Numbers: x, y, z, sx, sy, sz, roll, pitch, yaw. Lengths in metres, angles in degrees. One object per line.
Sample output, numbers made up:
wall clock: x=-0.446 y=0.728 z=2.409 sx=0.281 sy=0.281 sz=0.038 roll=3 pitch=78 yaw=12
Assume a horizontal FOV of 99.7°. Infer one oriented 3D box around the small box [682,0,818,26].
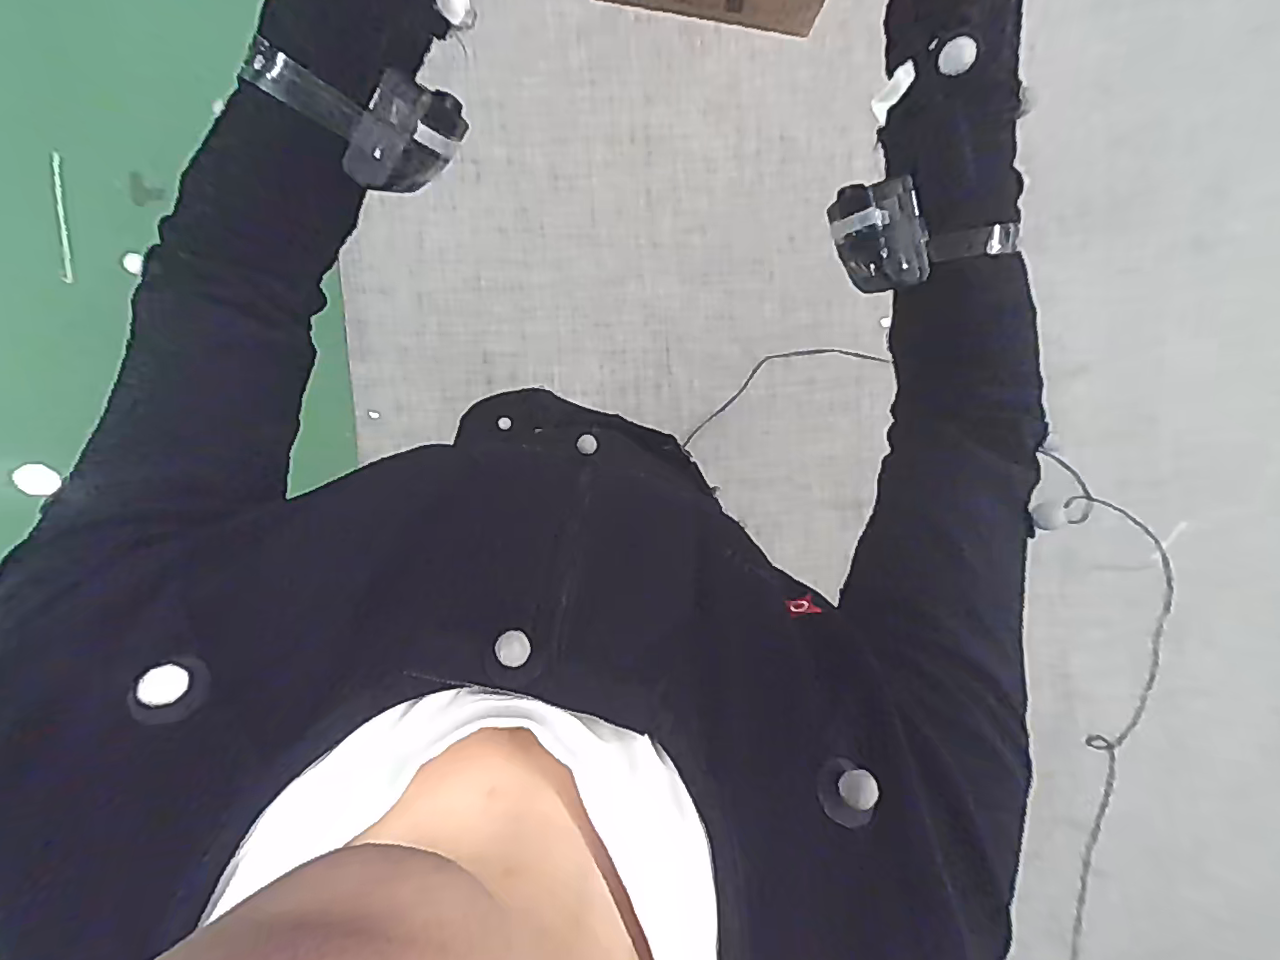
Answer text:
small box: x=0.059 y=-0.420 z=0.313 sx=0.168 sy=0.176 sz=0.179 roll=8 pitch=93 yaw=-2
